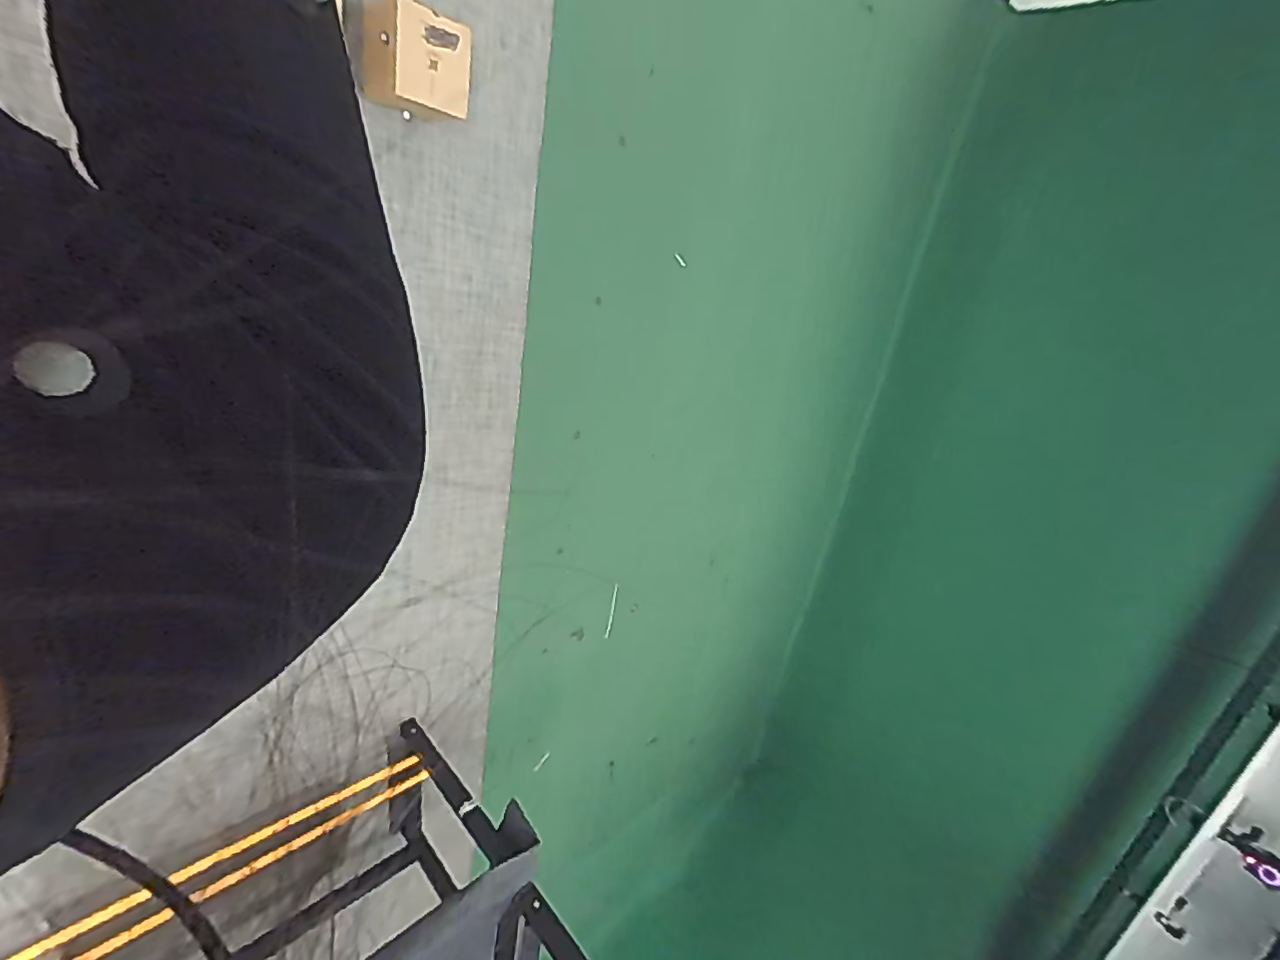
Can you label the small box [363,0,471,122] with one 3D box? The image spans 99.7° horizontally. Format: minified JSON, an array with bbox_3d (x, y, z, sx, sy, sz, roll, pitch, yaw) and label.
[{"bbox_3d":[-0.497,-0.920,1.197,0.168,0.176,0.179,-12,120,-46],"label":"small box"}]
